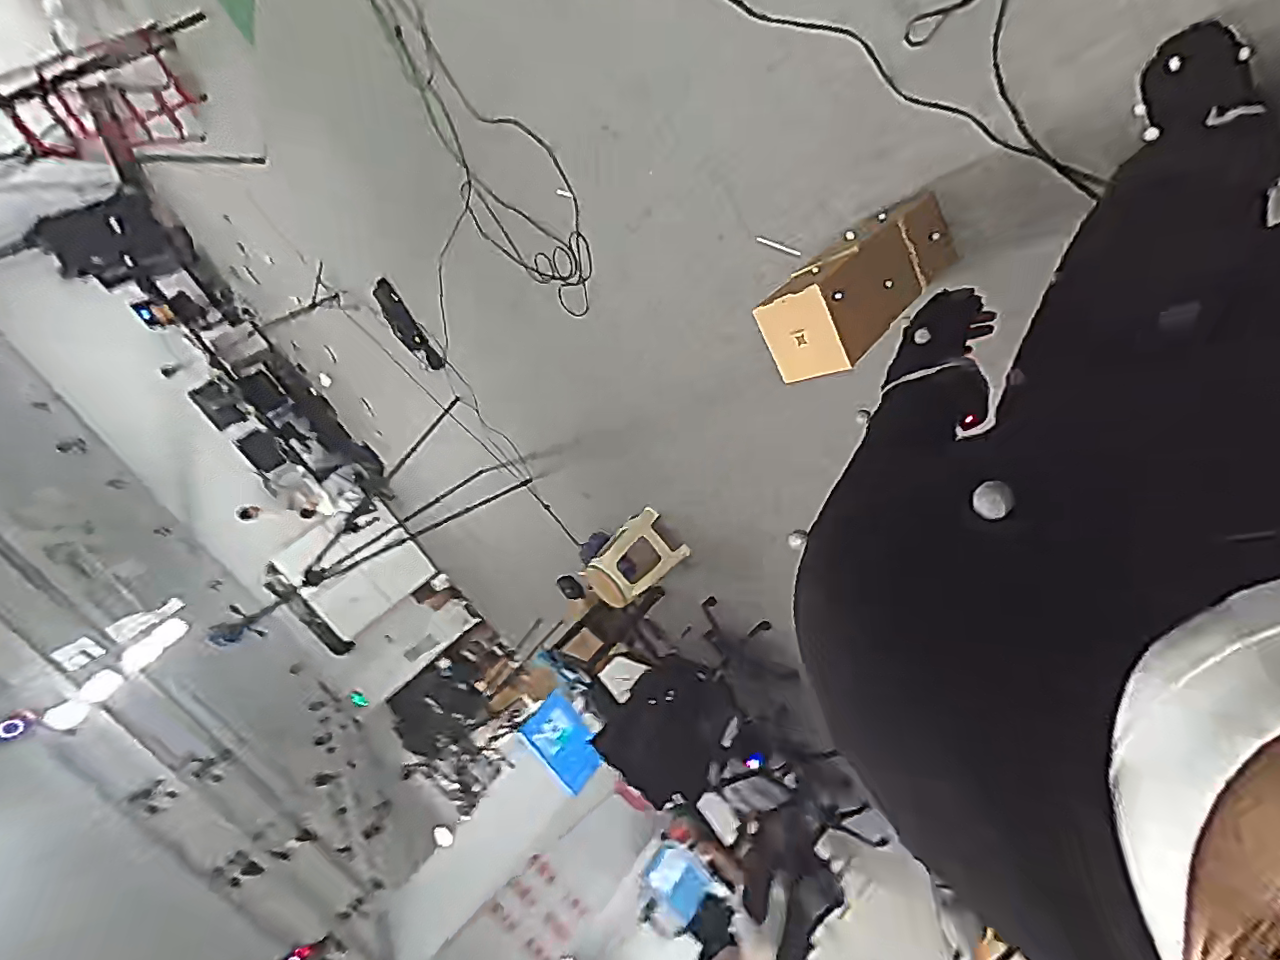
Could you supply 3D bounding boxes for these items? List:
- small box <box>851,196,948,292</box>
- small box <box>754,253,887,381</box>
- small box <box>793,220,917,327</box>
[{"bbox_3d":[0.588,-0.525,1.257,0.179,0.176,0.168,-4,121,55],"label":"small box"},{"bbox_3d":[0.373,-0.330,1.107,0.168,0.176,0.179,-3,122,55],"label":"small box"},{"bbox_3d":[0.476,-0.431,1.183,0.168,0.176,0.179,-3,122,55],"label":"small box"}]
